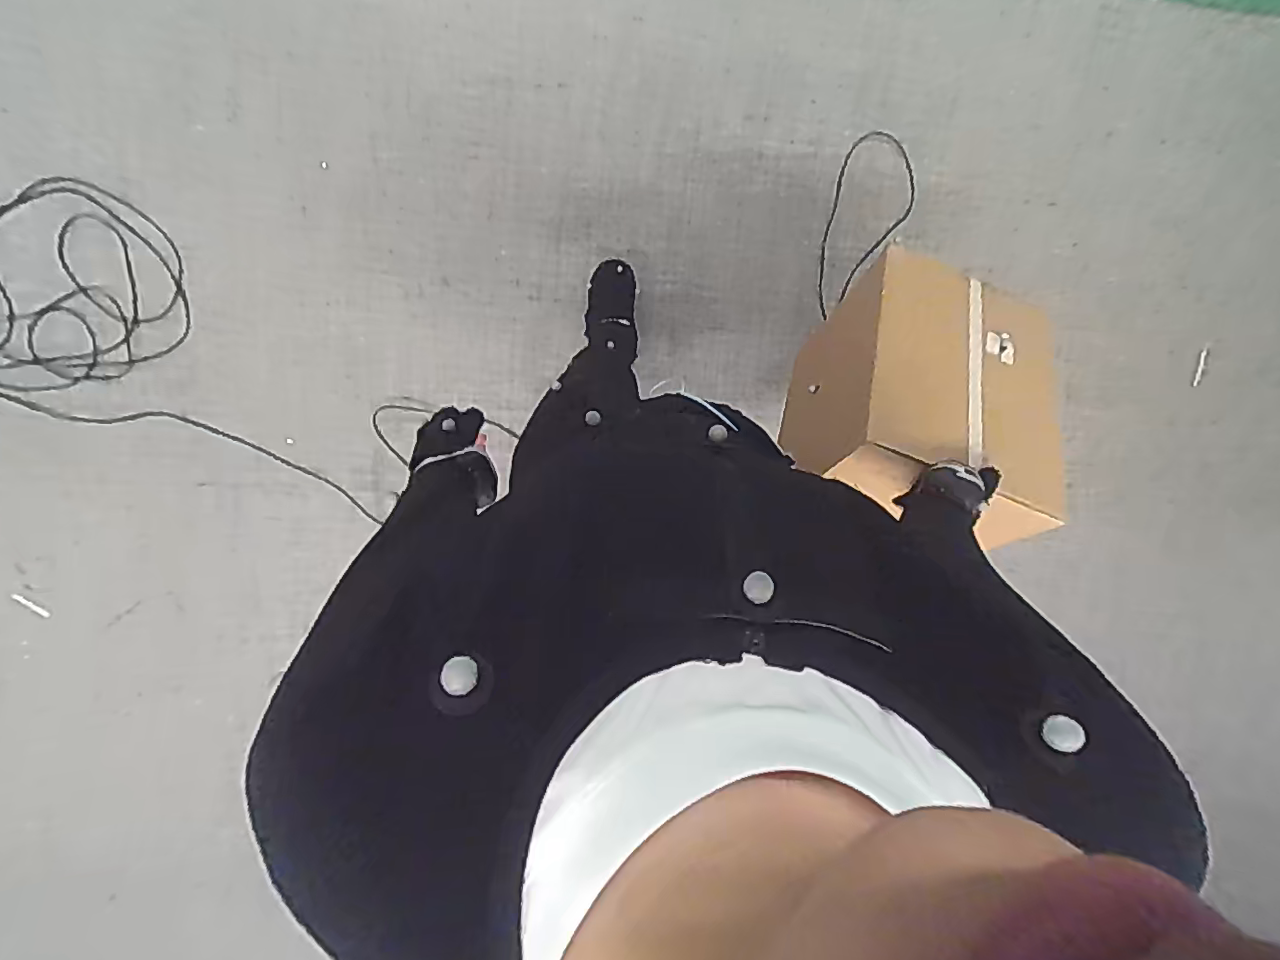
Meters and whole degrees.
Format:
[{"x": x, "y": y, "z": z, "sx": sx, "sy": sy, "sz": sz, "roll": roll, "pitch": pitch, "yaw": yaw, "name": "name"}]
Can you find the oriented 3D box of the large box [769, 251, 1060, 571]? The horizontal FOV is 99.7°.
[{"x": 0.458, "y": -0.104, "z": 0.956, "sx": 0.320, "sy": 0.320, "sz": 0.408, "roll": 22, "pitch": 62, "yaw": -6, "name": "large box"}]
